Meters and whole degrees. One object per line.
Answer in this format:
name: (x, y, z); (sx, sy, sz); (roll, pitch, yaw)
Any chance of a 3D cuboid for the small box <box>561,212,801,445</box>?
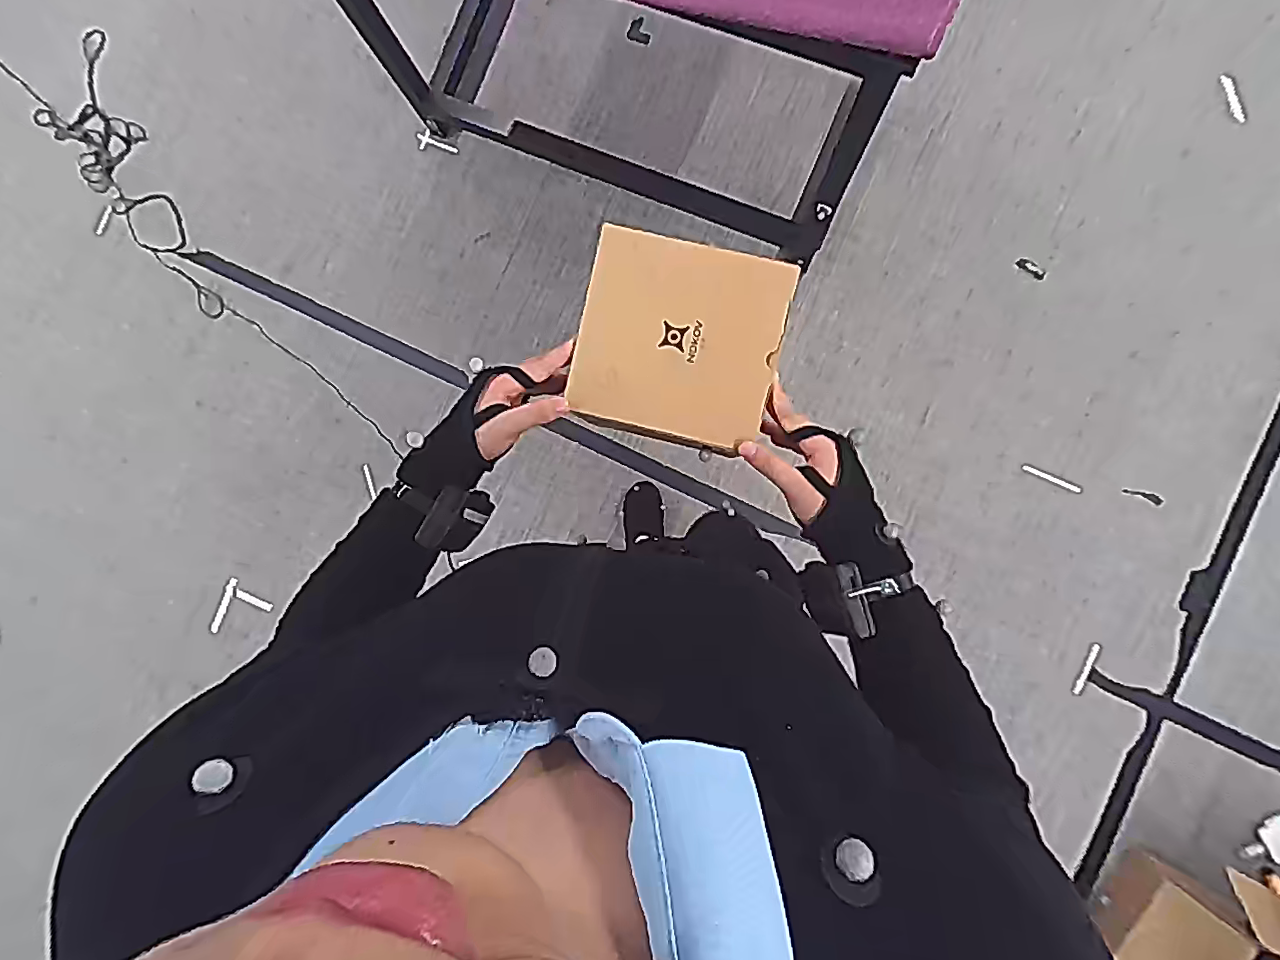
small box: (0.037, -0.133, 0.541); (0.179, 0.176, 0.168); (14, 92, 2)
